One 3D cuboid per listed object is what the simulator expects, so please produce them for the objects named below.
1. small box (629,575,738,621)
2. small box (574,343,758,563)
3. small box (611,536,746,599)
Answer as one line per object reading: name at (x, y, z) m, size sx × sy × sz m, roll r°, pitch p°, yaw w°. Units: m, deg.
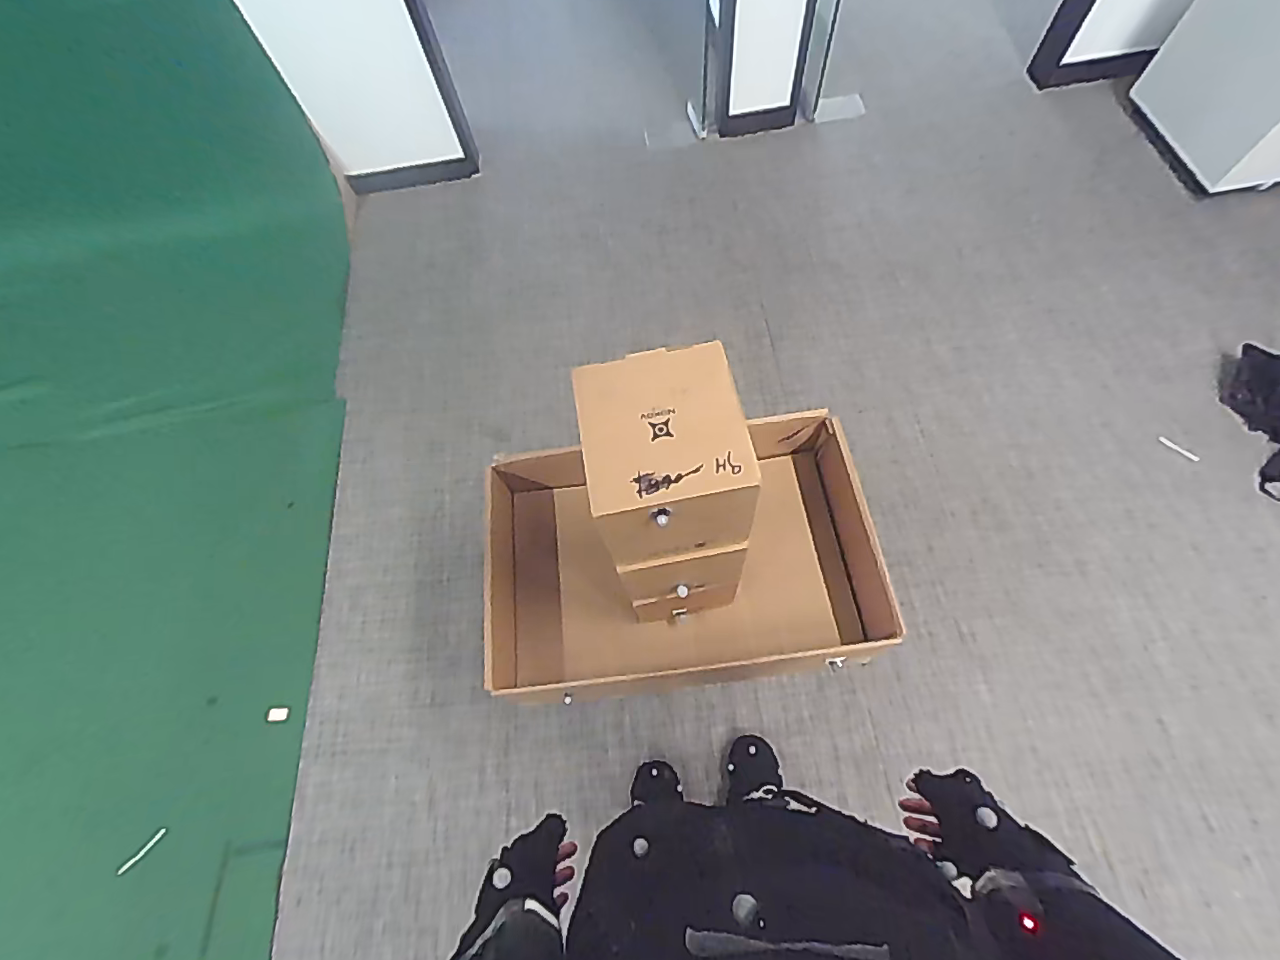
small box at (0.058, 0.124, 0.910) m, size 0.168 × 0.176 × 0.179 m, roll -12°, pitch 65°, yaw 0°
small box at (0.028, -0.023, 0.619) m, size 0.168 × 0.176 × 0.179 m, roll -11°, pitch 64°, yaw 2°
small box at (0.044, 0.053, 0.763) m, size 0.168 × 0.176 × 0.179 m, roll -11°, pitch 65°, yaw 2°
